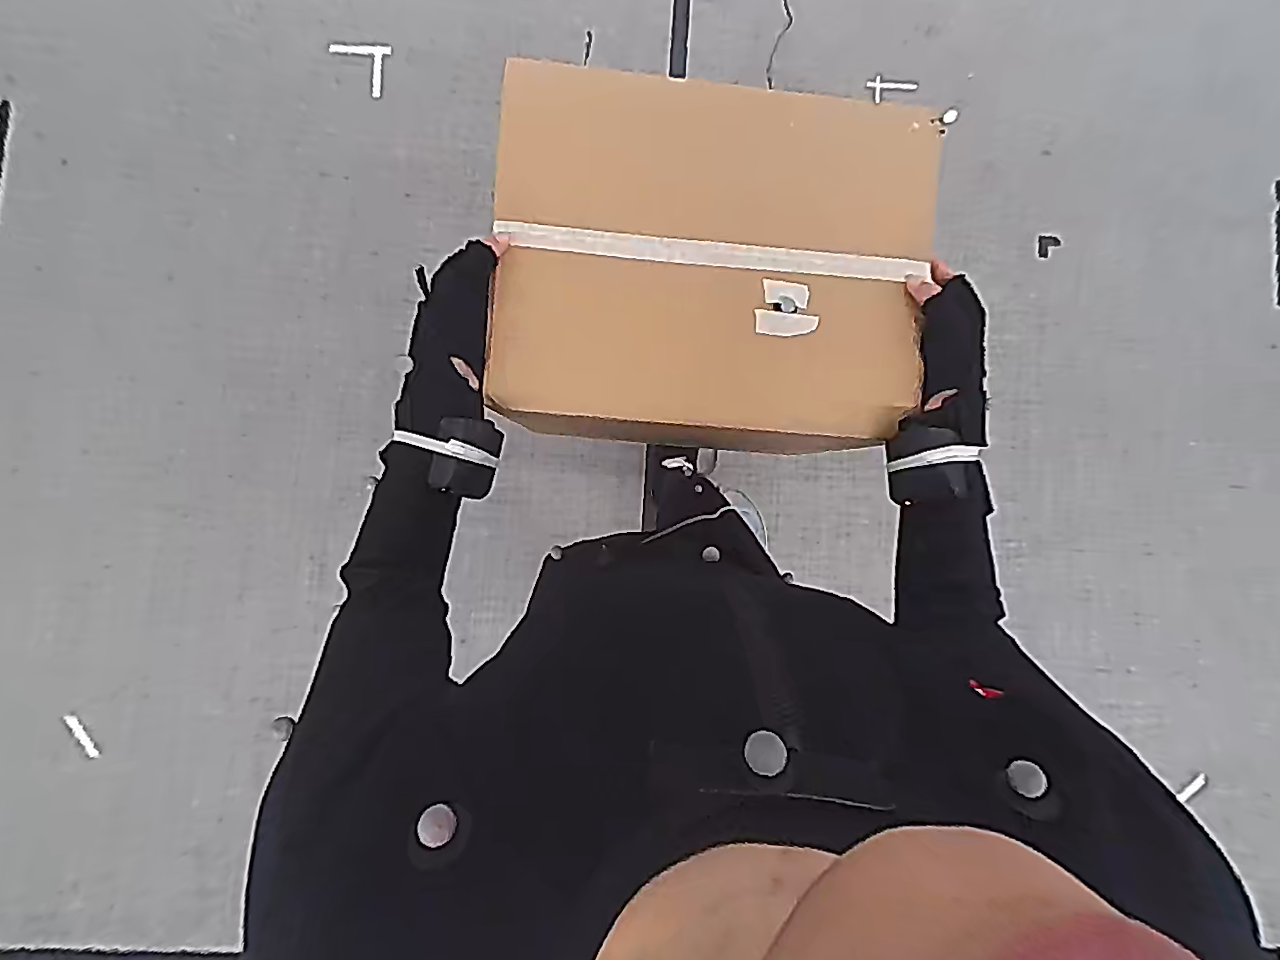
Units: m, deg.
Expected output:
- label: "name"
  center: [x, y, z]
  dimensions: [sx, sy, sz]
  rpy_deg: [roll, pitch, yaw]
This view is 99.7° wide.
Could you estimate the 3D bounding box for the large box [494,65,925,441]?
- label: "large box"
  center: [0.058, -0.221, 0.661]
  dimensions: [0.408, 0.320, 0.320]
  rpy_deg: [5, 92, -4]
